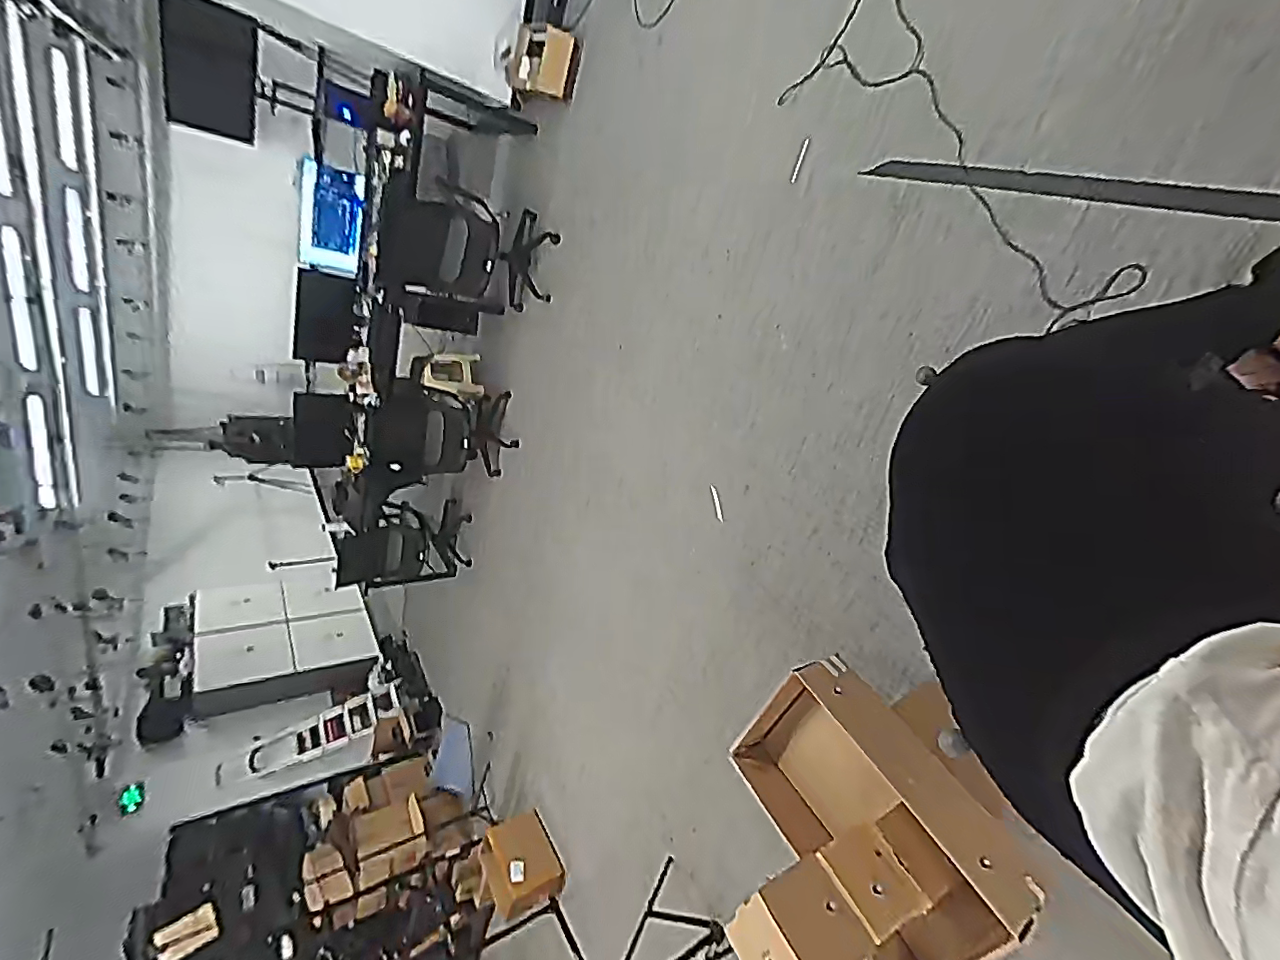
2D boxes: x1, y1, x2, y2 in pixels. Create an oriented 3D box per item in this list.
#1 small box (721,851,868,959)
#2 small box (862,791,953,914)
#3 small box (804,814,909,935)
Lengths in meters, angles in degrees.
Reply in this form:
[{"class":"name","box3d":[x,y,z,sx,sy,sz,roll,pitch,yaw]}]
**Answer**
[{"class":"small box","box3d":[0.296,0.861,1.049,0.179,0.176,0.168,50,130,41]},{"class":"small box","box3d":[0.570,0.844,1.226,0.168,0.176,0.179,55,132,37]},{"class":"small box","box3d":[0.431,0.849,1.141,0.168,0.176,0.179,51,130,40]}]
